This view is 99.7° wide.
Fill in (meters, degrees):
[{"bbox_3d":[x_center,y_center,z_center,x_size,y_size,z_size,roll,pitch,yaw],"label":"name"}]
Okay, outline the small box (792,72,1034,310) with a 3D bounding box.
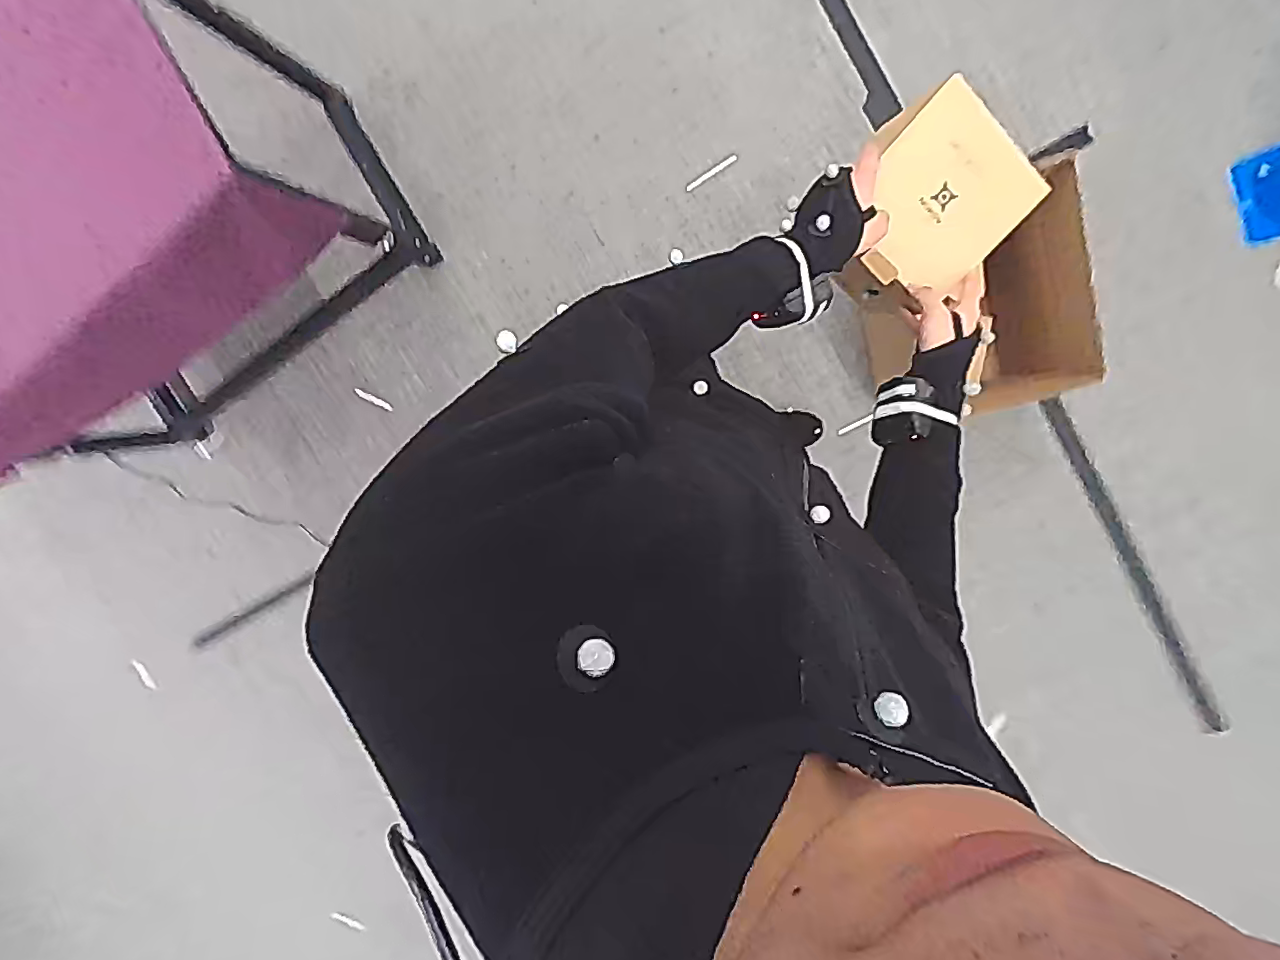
[{"bbox_3d":[0.309,-0.327,0.660,0.168,0.176,0.179,39,102,-12],"label":"small box"}]
